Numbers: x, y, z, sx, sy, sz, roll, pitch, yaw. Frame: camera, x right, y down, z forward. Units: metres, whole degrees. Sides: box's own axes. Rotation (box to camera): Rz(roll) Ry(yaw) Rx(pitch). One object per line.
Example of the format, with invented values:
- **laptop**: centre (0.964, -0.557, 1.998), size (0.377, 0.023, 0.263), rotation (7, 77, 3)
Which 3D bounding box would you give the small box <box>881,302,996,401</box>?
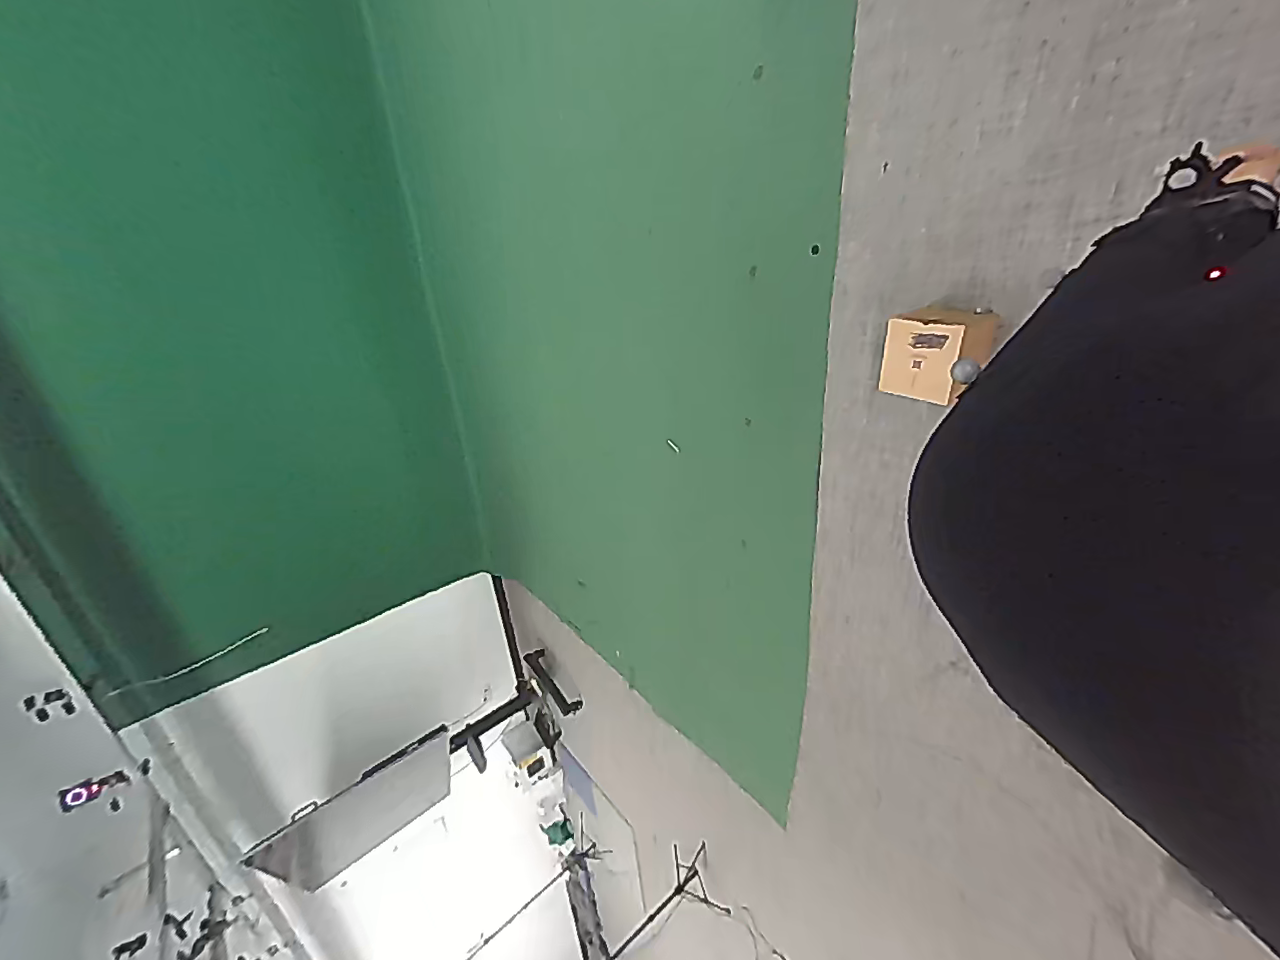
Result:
- **small box**: centre (0.686, -0.303, 1.243), size (0.168, 0.176, 0.179), rotation (28, 132, 44)
